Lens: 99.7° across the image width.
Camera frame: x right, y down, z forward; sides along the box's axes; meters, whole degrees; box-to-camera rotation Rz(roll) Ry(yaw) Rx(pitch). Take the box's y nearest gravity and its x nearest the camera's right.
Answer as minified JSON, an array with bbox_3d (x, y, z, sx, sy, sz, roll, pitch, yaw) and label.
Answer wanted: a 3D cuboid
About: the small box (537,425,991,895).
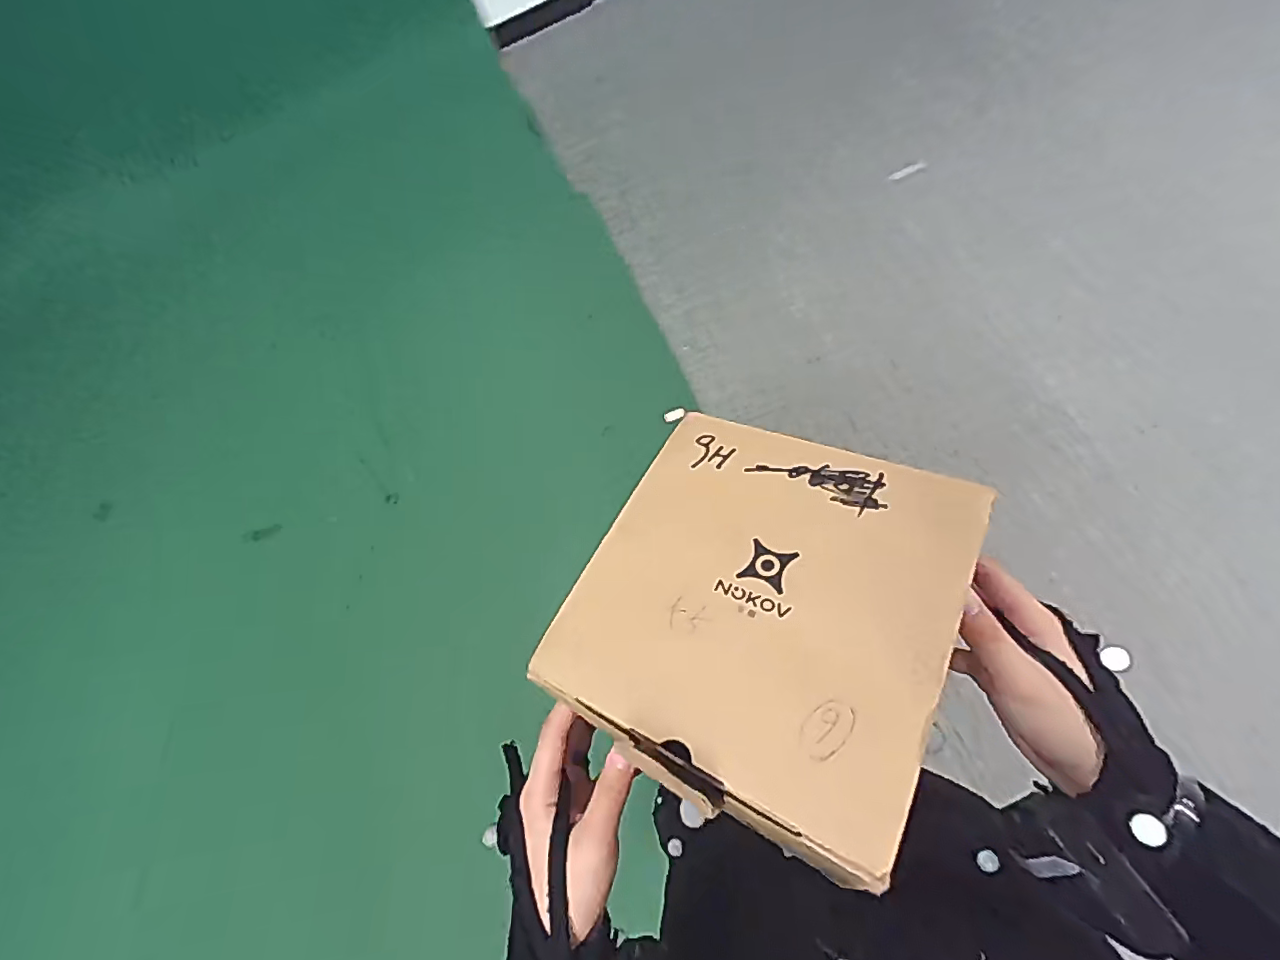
[{"bbox_3d":[0.077,0.101,0.322,0.168,0.176,0.179,19,63,27],"label":"small box"}]
